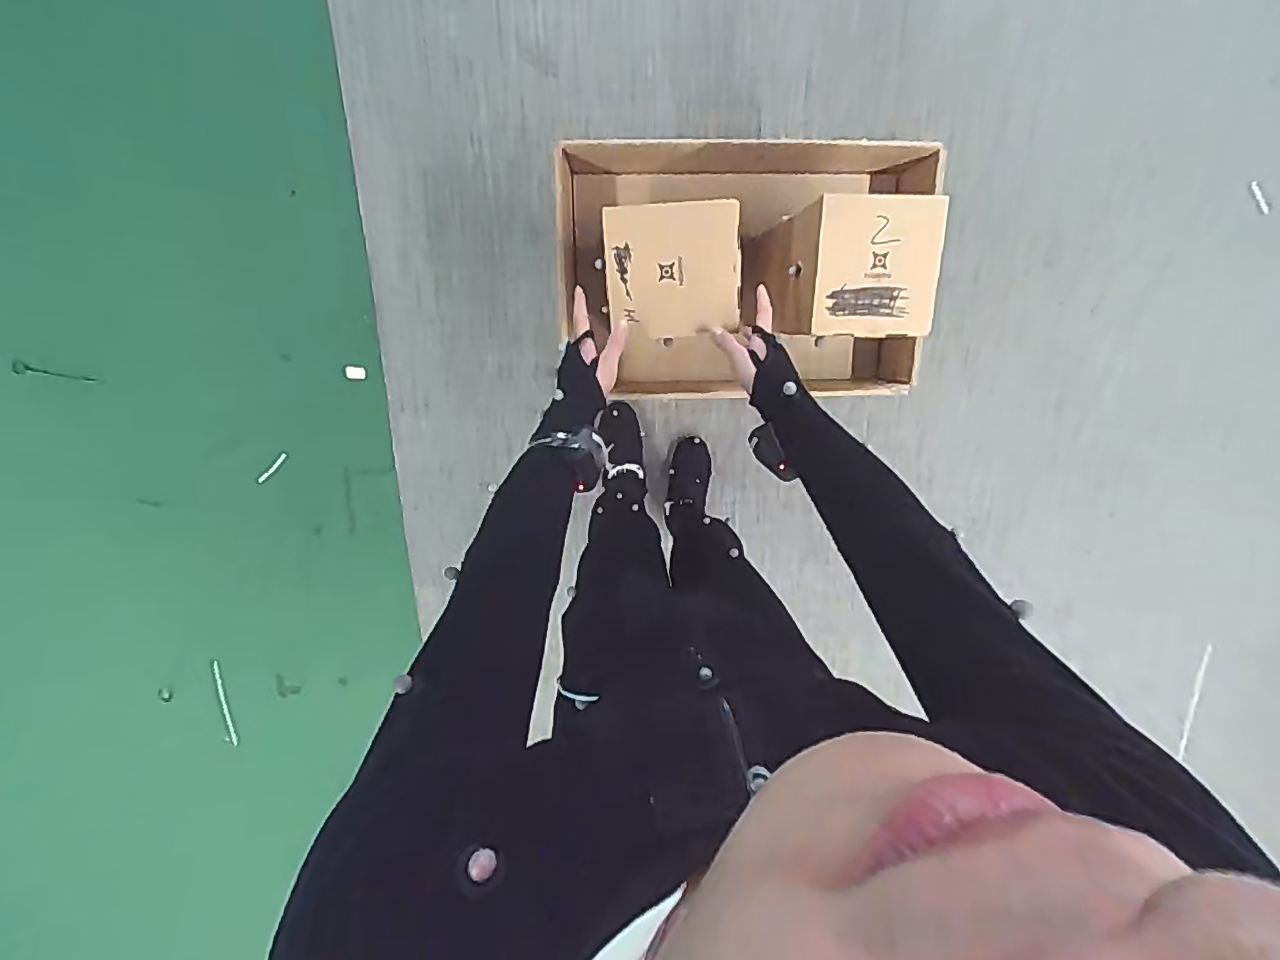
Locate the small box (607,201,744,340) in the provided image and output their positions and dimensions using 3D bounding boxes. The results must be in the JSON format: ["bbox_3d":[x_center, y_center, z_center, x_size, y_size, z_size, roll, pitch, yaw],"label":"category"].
[{"bbox_3d":[0.044,-0.291,0.773,0.179,0.176,0.168,-3,106,-1],"label":"small box"}]
